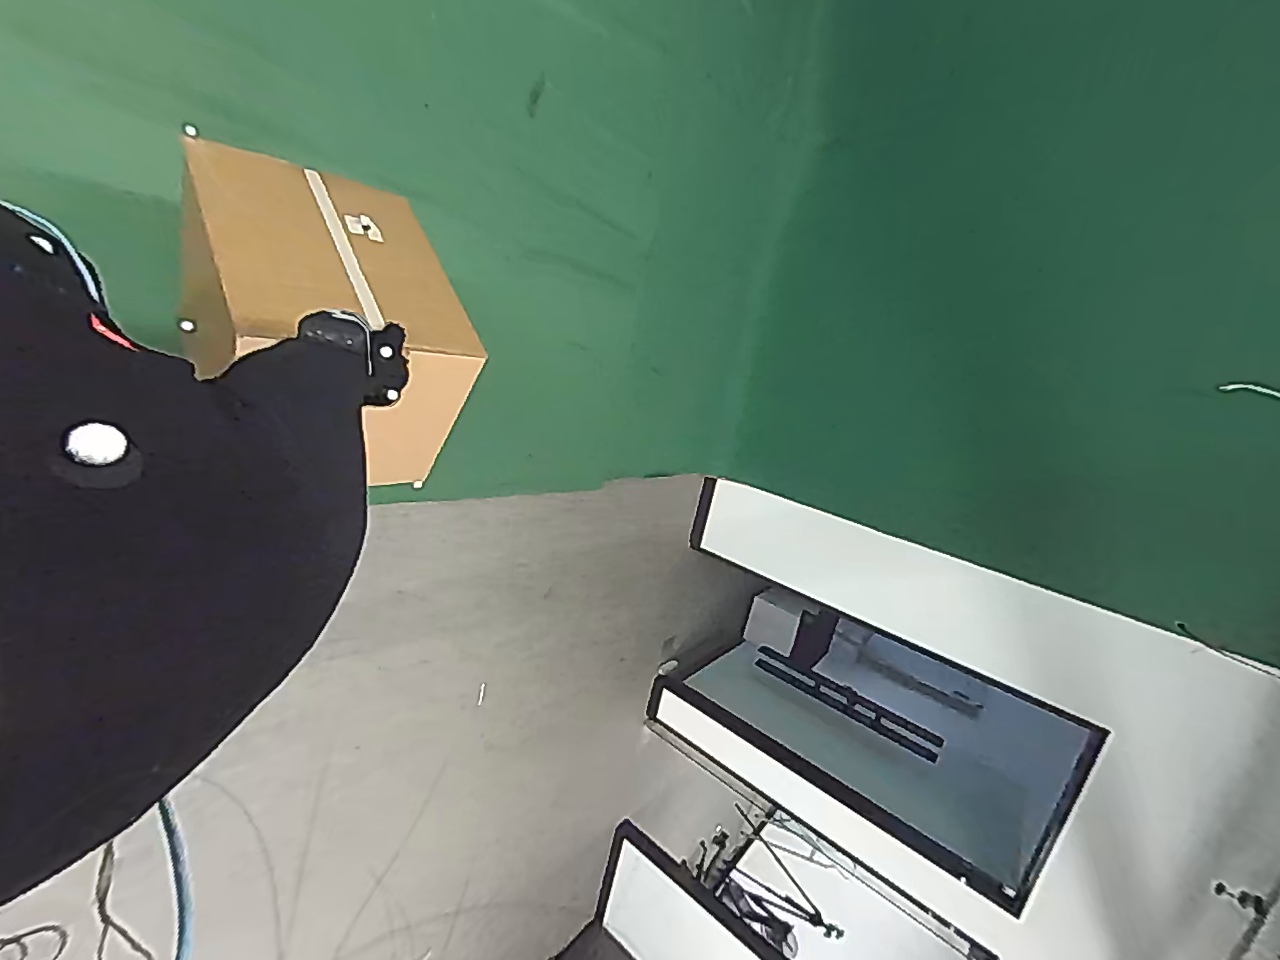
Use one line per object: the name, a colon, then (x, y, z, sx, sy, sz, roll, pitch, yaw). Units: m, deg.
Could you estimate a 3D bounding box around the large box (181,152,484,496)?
large box: (-0.519, -0.232, 0.887, 0.320, 0.408, 0.320, -6, 146, -47)
